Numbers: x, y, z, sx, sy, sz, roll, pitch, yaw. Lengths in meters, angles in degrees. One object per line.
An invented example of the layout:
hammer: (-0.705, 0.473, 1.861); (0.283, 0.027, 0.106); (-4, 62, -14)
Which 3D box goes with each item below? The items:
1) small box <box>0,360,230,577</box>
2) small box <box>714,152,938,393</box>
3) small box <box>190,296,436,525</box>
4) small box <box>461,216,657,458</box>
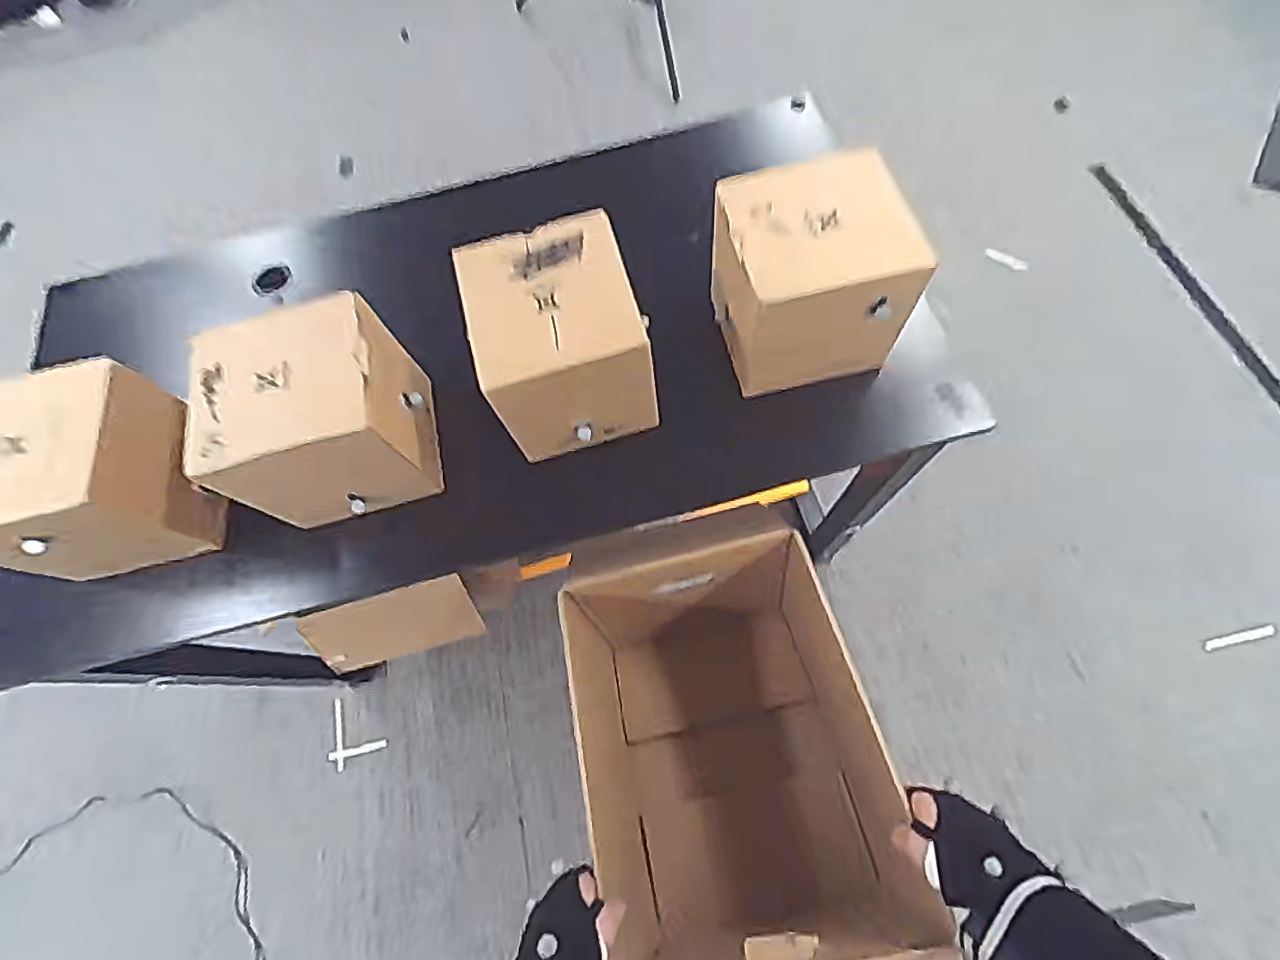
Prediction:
small box: (-0.596, -0.002, 0.593); (0.179, 0.176, 0.168); (-12, 68, -1)
small box: (0.188, -0.222, 0.609); (0.179, 0.176, 0.168); (-13, 66, 1)
small box: (-0.341, -0.066, 0.597); (0.179, 0.176, 0.168); (-16, 67, -3)
small box: (-0.082, -0.150, 0.607); (0.168, 0.176, 0.179); (-16, 68, -1)
